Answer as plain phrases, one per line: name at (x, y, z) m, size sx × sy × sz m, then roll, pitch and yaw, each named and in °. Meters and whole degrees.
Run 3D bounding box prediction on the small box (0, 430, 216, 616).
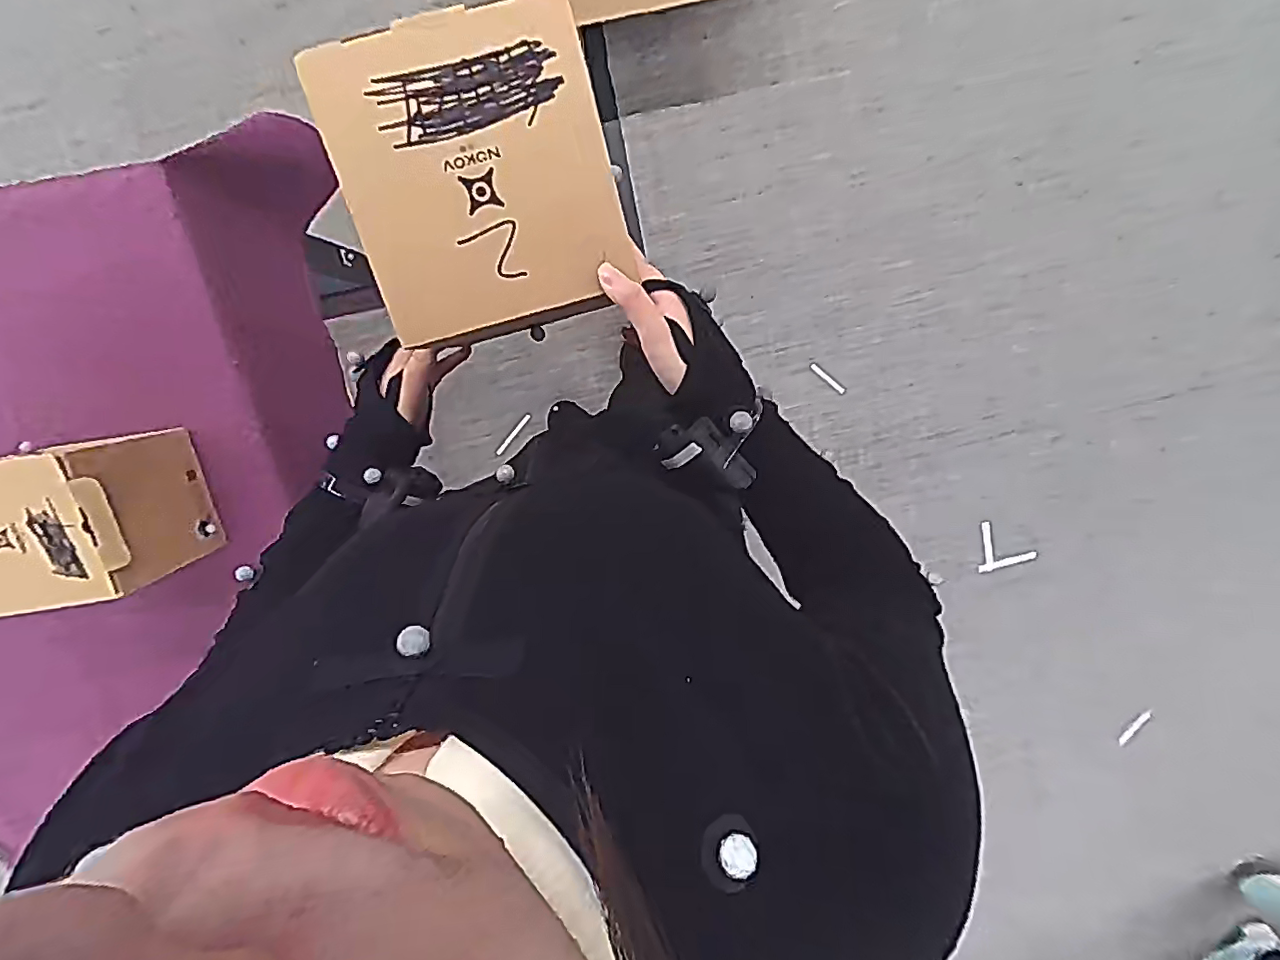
small box at (-0.656, 0.042, 0.642) m, size 0.179 × 0.176 × 0.168 m, roll -9°, pitch 104°, yaw 1°
